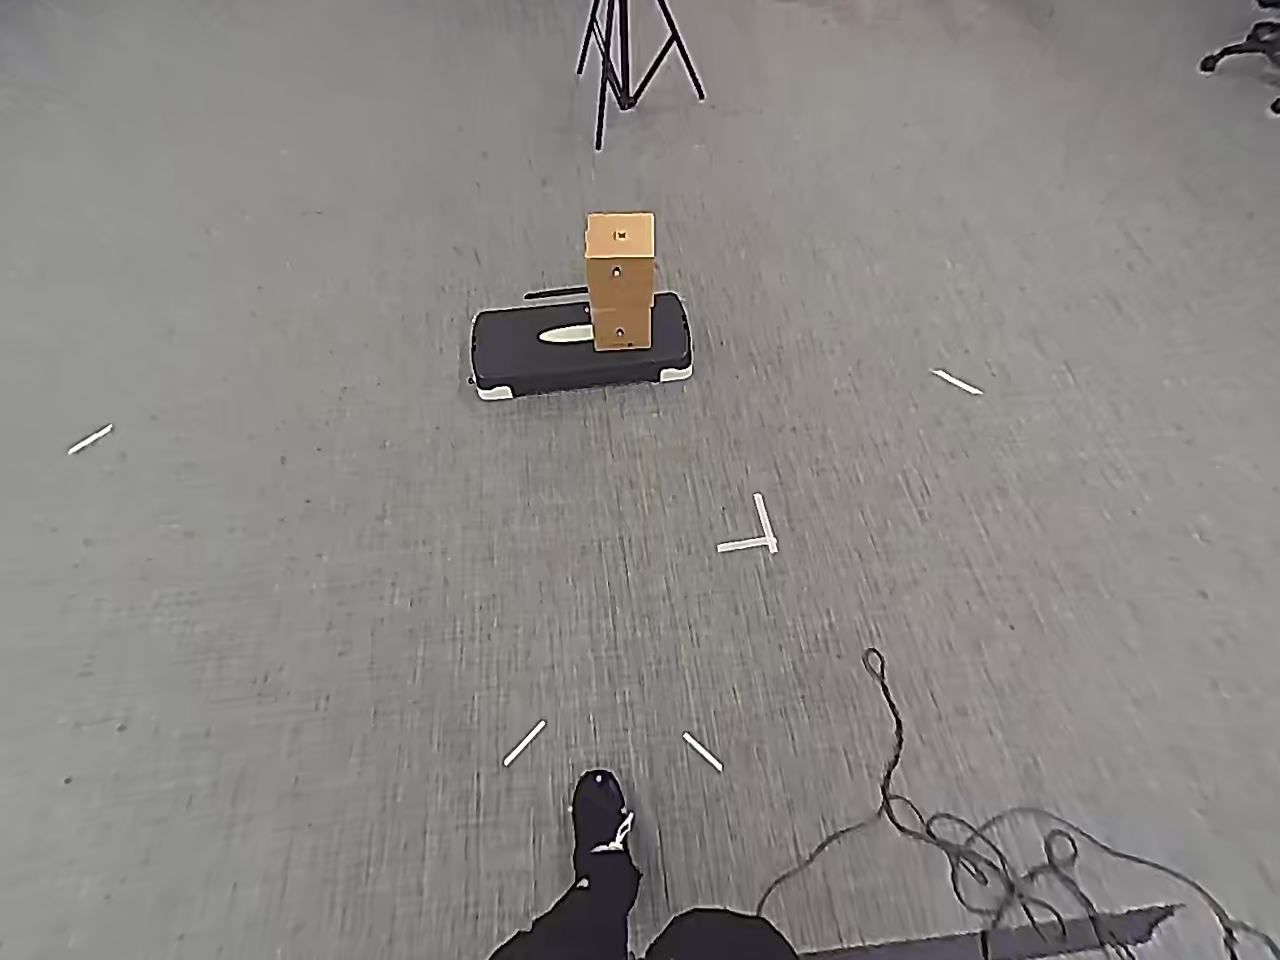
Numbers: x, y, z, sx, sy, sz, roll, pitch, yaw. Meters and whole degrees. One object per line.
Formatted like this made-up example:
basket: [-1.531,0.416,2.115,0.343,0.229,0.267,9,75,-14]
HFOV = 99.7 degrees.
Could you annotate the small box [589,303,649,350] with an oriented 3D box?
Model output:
small box: [-0.060,-0.494,1.578,0.168,0.176,0.179,-3,62,-1]

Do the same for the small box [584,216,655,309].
small box: [-0.051,-0.571,1.435,0.179,0.176,0.168,-1,63,1]
